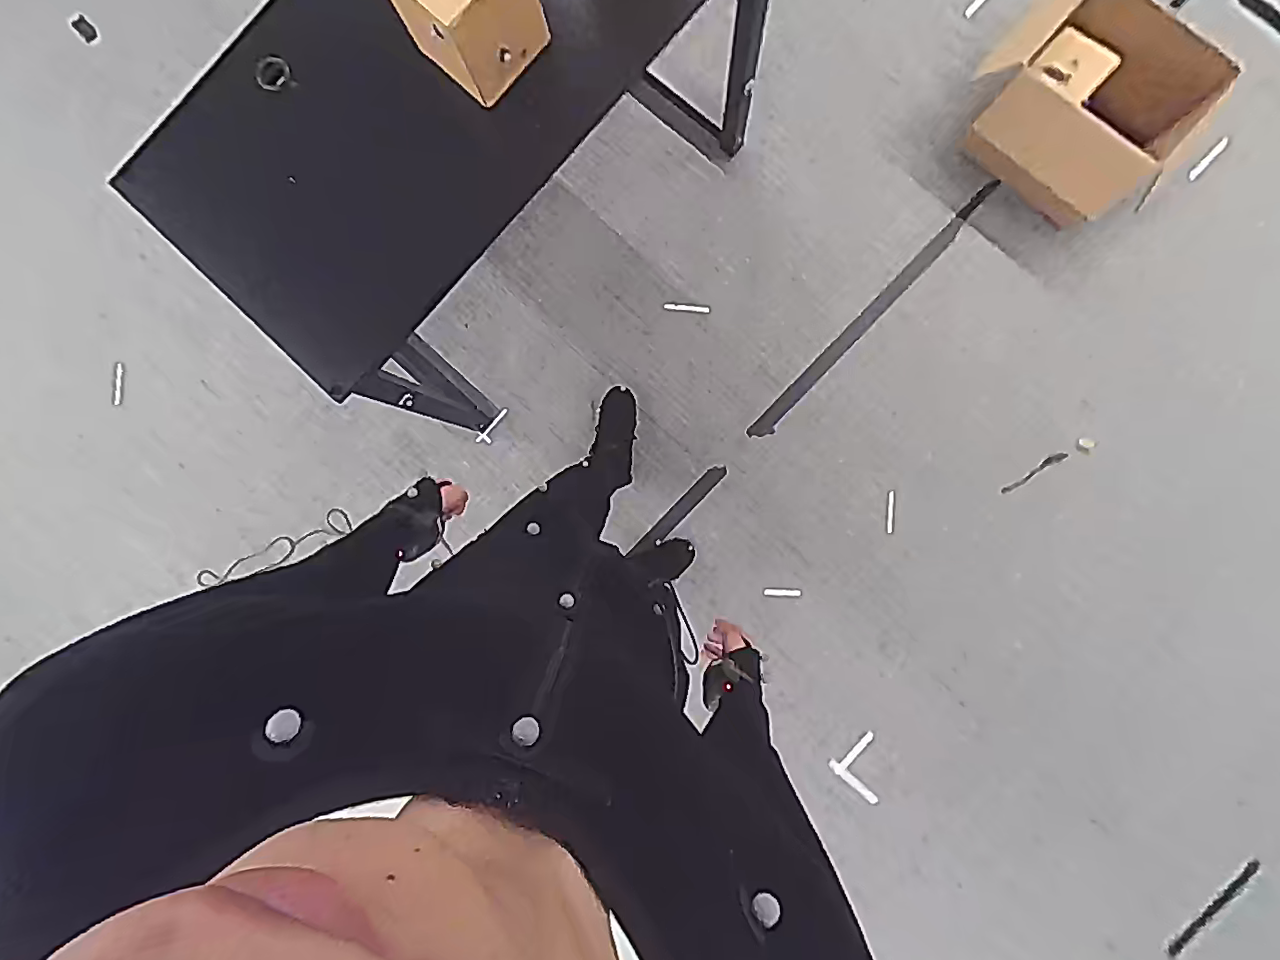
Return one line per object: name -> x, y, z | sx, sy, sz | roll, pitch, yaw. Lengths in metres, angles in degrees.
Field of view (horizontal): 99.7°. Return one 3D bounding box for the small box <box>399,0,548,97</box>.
small box -> -0.275, -0.771, 0.860 | 0.179, 0.176, 0.168 | 43, 92, 3
